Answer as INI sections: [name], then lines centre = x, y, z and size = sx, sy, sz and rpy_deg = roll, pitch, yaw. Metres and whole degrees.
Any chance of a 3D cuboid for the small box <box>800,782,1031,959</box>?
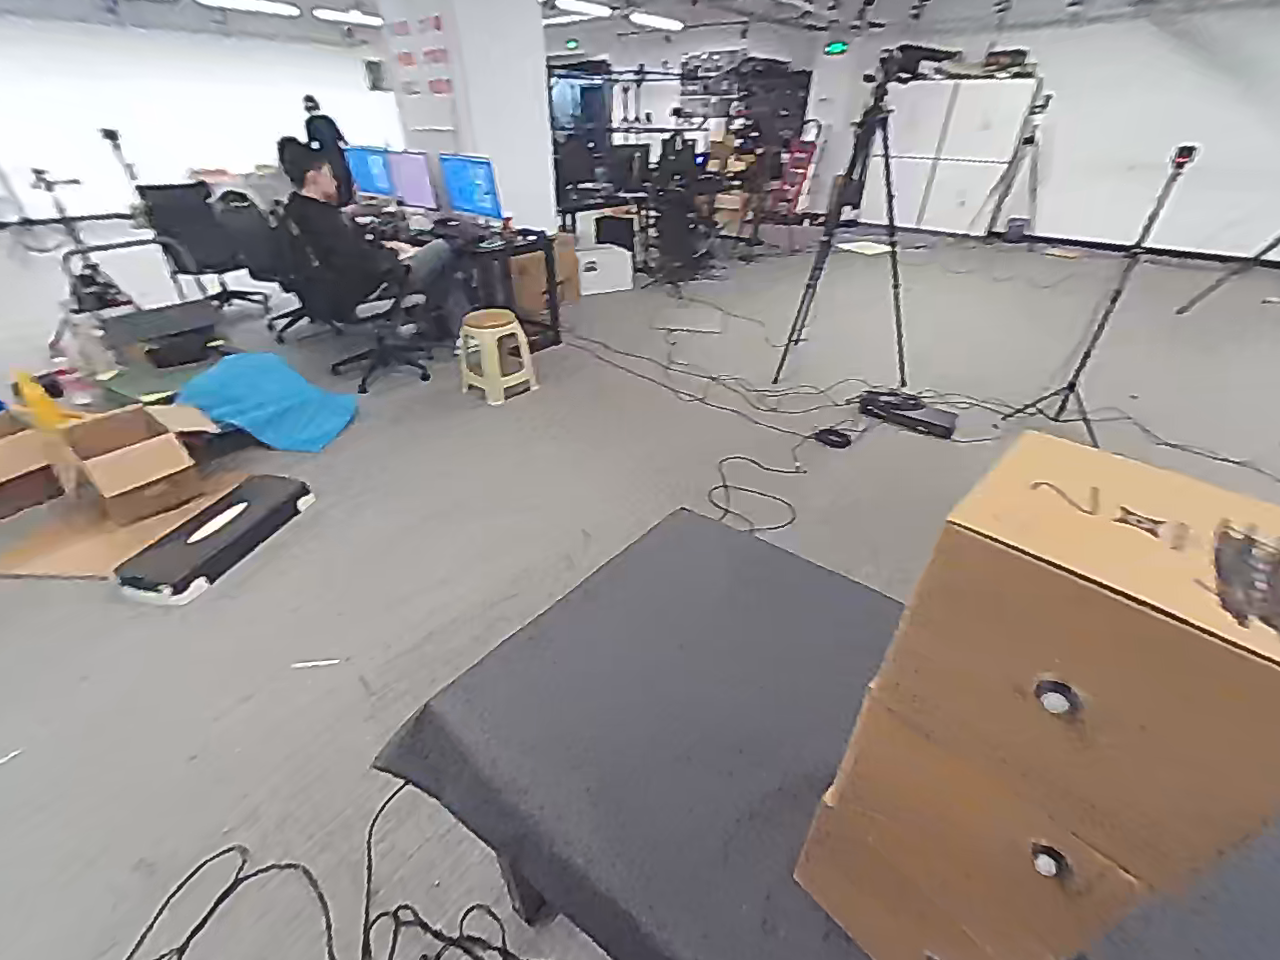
[small box]
centre = 0.285, 0.367, 0.532
size = 0.168, 0.176, 0.179
rpy_deg = -25, 40, -35
